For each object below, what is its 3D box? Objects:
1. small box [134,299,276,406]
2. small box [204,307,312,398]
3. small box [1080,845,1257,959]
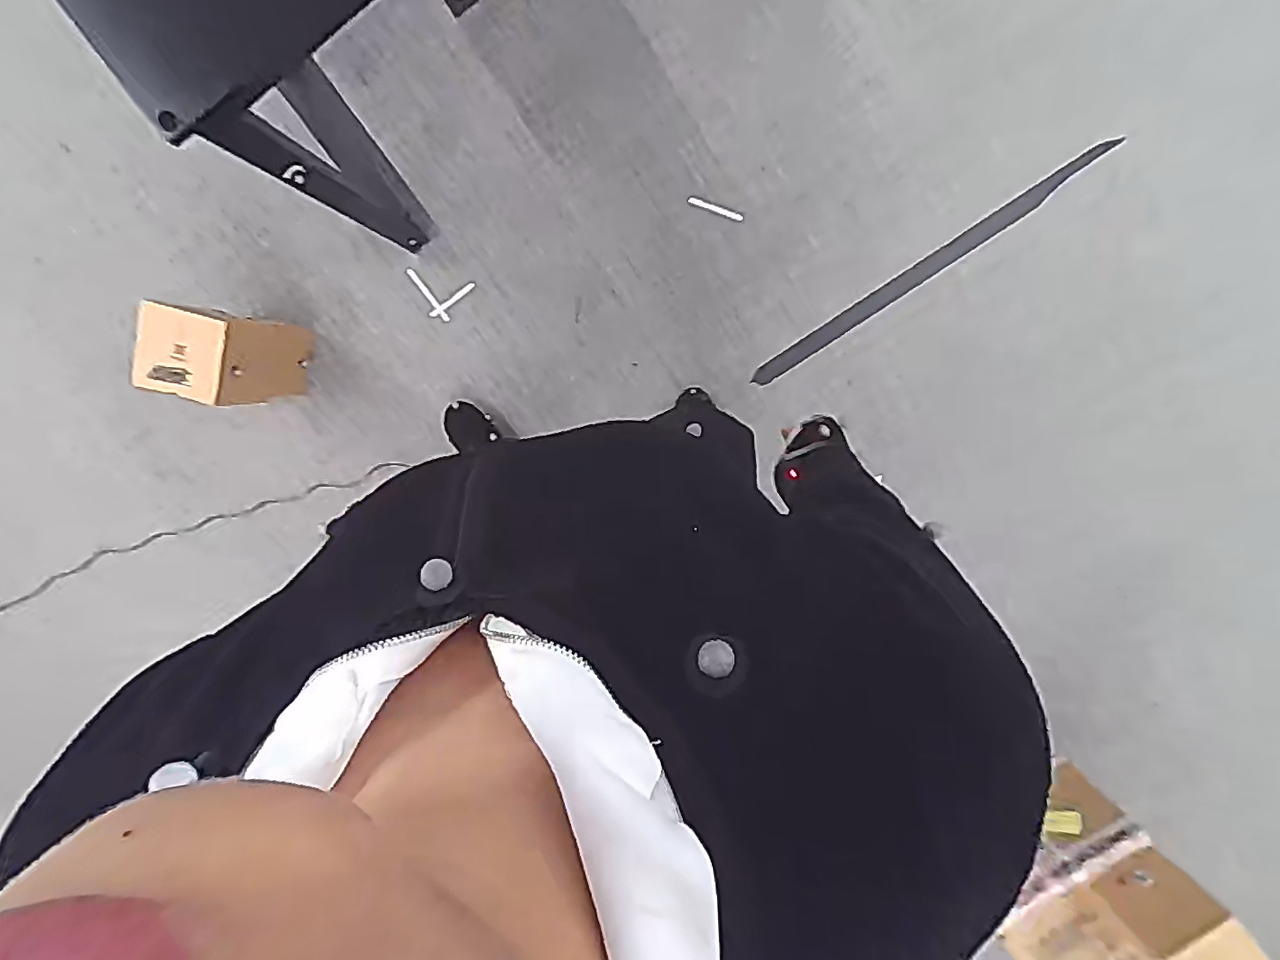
[{"bbox_3d":[-0.923,-0.268,1.161,0.168,0.176,0.179,15,100,-4],"label":"small box"},{"bbox_3d":[-0.938,-0.306,1.322,0.168,0.176,0.179,14,100,-3],"label":"small box"},{"bbox_3d":[1.069,0.903,1.100,0.168,0.176,0.179,-39,95,4],"label":"small box"}]
